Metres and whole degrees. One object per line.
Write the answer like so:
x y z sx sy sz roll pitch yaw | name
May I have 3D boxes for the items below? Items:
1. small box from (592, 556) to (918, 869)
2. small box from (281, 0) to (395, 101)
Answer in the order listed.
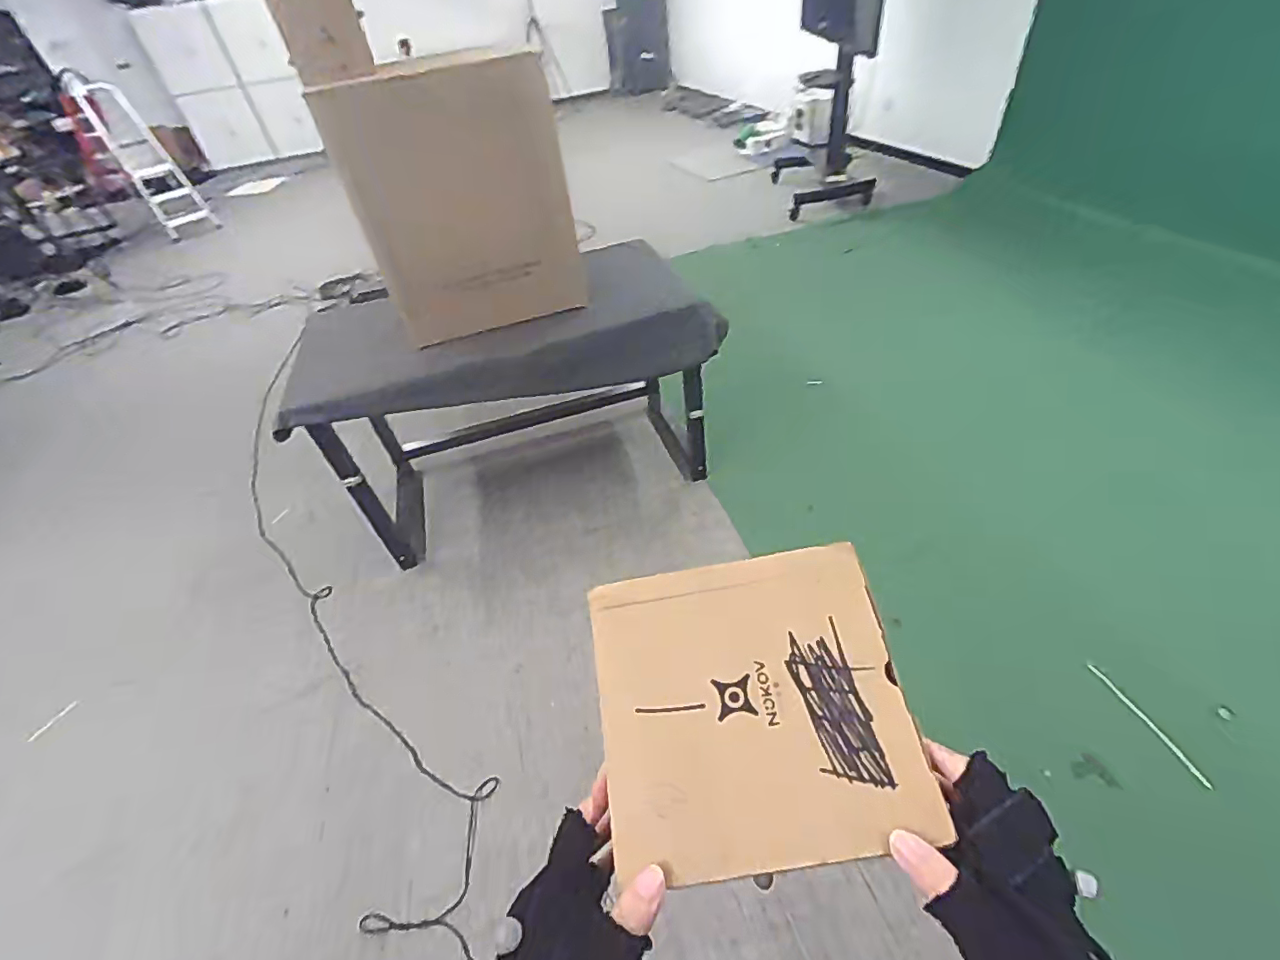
0.068 0.173 0.407 0.179 0.176 0.168 -9 60 2 | small box
-0.670 -0.974 1.216 0.168 0.176 0.179 -22 46 -11 | small box
